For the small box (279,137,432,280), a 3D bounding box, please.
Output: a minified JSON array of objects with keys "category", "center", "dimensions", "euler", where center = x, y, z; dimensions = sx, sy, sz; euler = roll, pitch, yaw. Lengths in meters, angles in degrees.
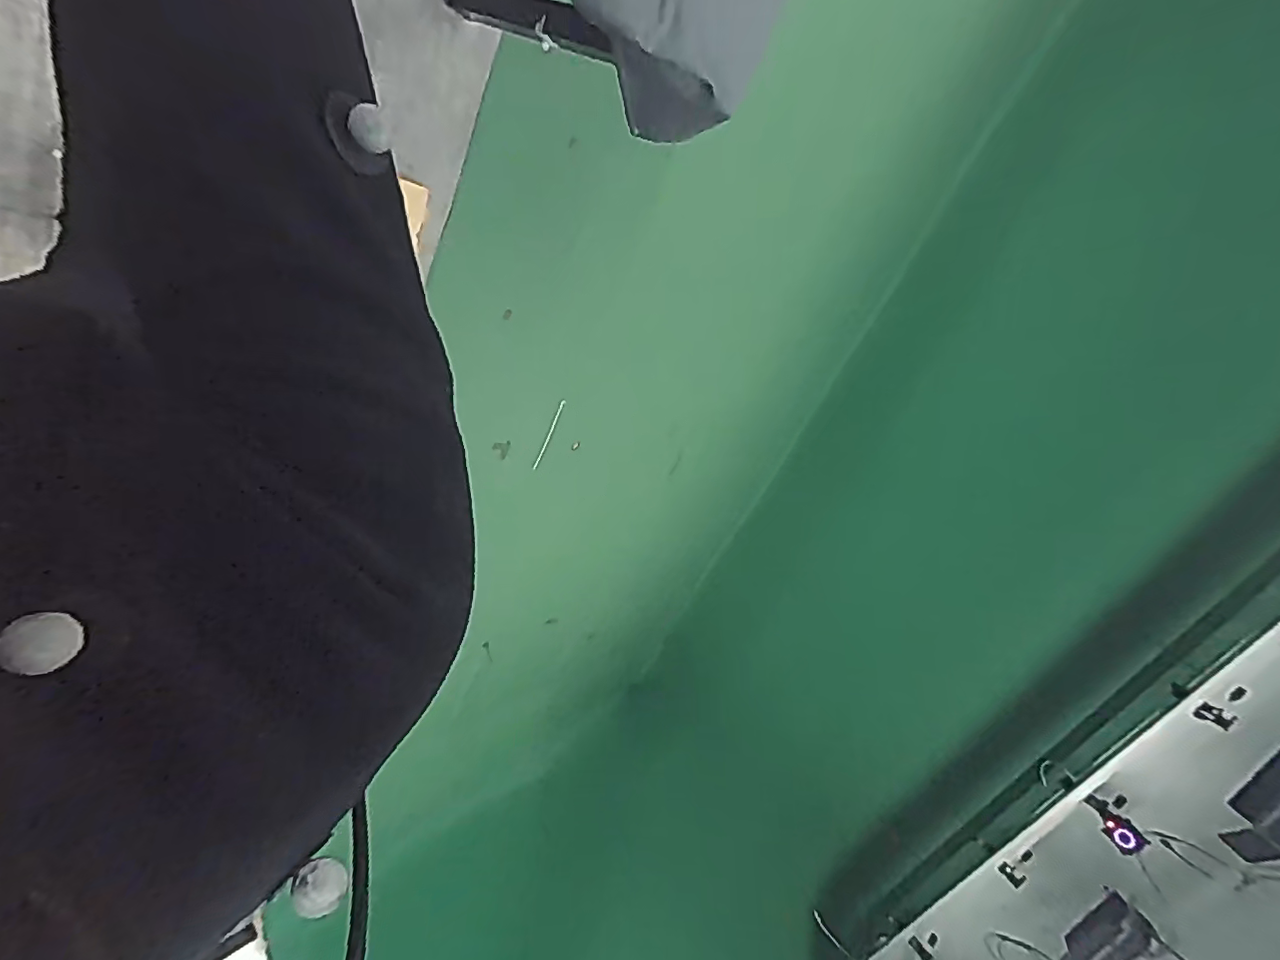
[{"category":"small box","center":[-0.506,-0.478,0.959],"dimensions":[0.179,0.176,0.168],"euler":[-10,131,-50]}]
